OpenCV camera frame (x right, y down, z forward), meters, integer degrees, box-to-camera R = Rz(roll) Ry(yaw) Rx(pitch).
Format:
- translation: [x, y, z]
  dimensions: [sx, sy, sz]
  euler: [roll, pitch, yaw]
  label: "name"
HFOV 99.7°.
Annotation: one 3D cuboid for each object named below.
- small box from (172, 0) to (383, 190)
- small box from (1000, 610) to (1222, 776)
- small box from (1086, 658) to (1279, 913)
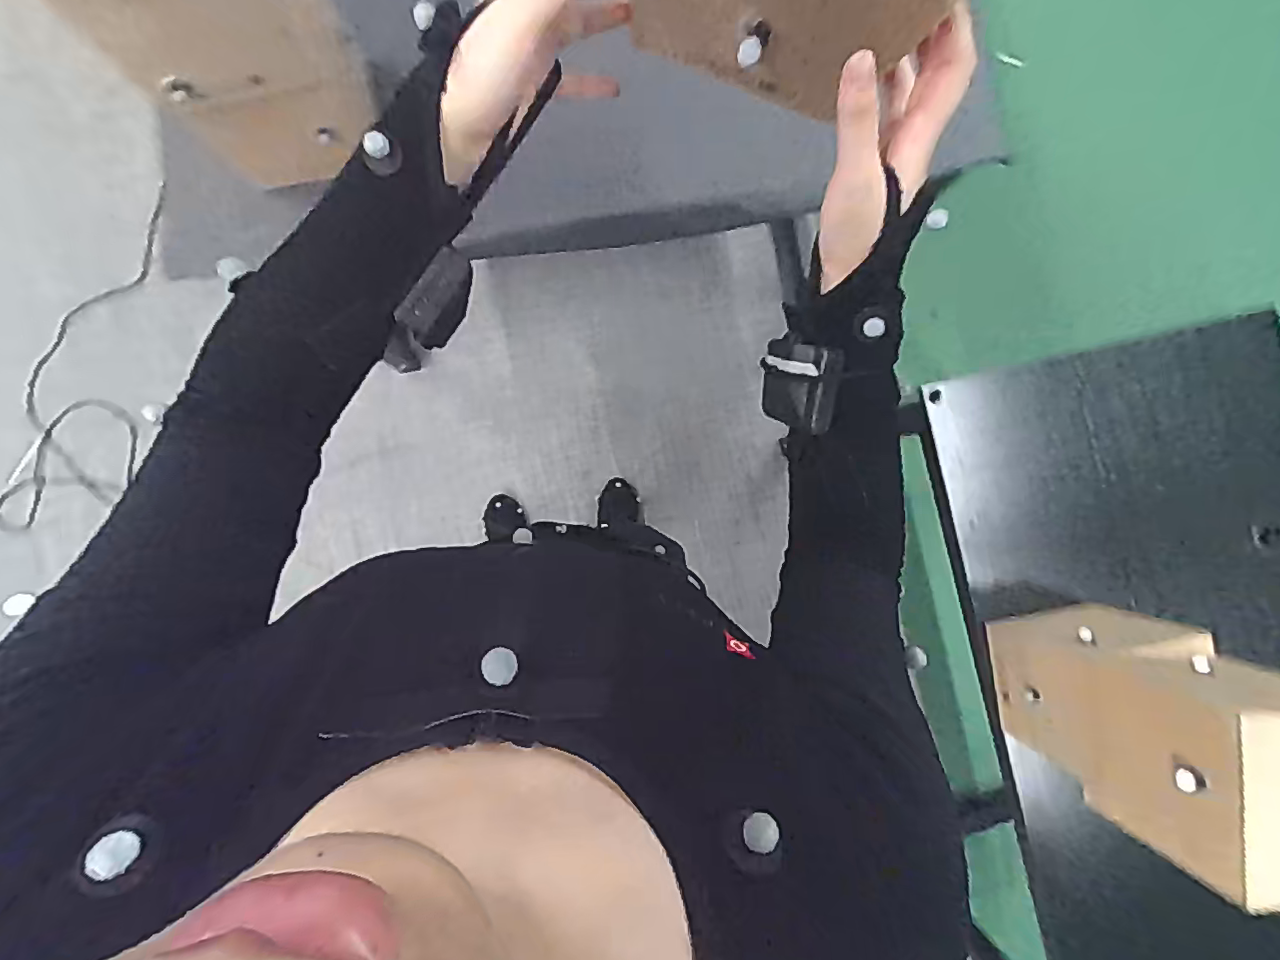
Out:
- translation: [-0.444, -0.497, 0.675]
  dimensions: [0.179, 0.176, 0.168]
  euler: [-13, 88, -3]
  label: "small box"
- translation: [0.622, 0.285, 0.729]
  dimensions: [0.179, 0.176, 0.168]
  euler: [-8, 91, -3]
  label: "small box"
- translation: [0.614, 0.301, 0.566]
  dimensions: [0.168, 0.176, 0.179]
  euler: [0, 90, -3]
  label: "small box"
